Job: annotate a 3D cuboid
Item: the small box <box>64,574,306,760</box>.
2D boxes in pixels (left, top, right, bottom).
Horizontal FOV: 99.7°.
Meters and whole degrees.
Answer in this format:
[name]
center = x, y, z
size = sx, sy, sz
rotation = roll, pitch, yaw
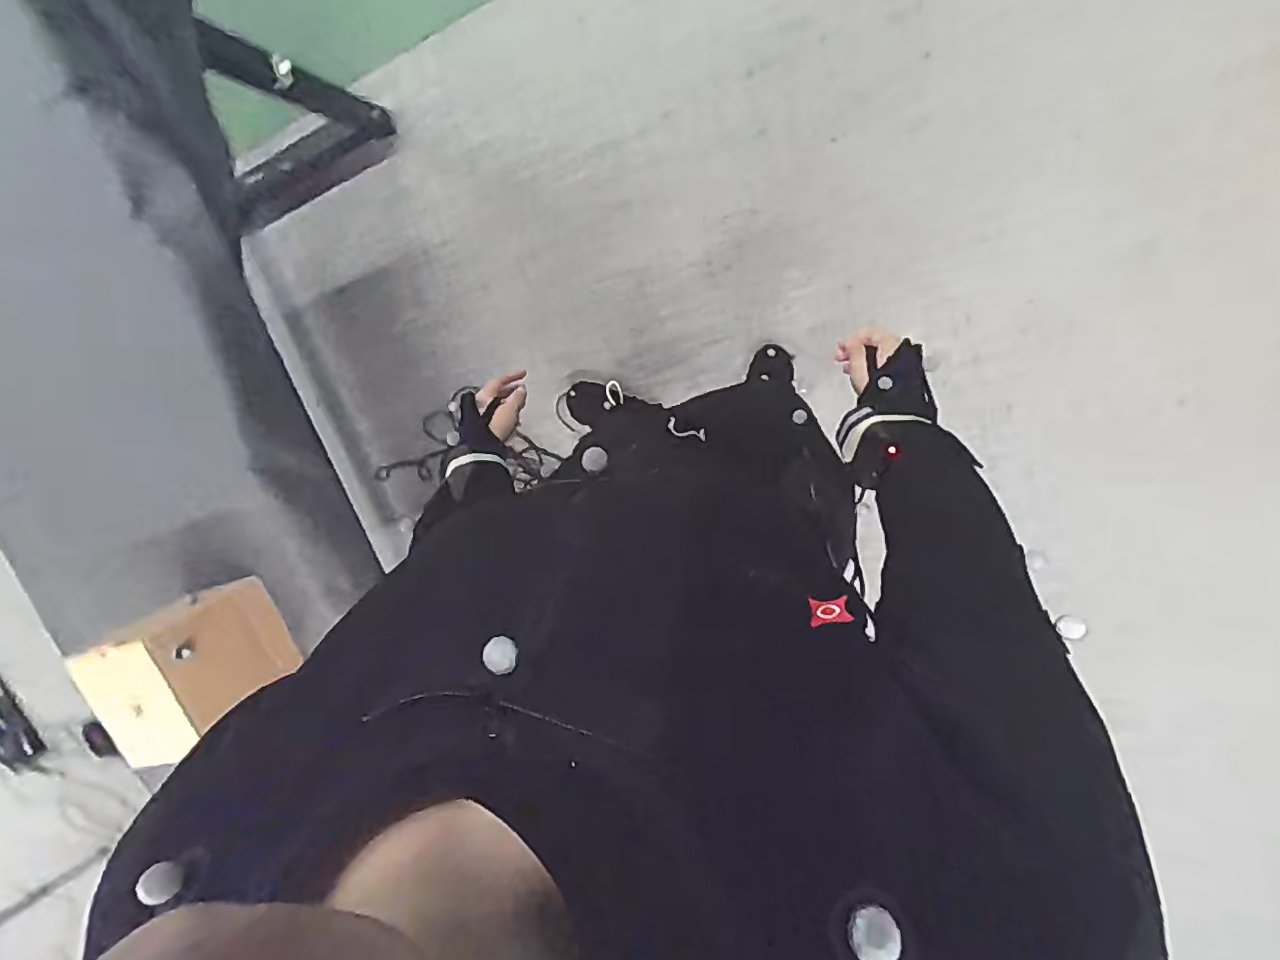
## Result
[small box]
center = -0.627, 0.260, 0.769
size = 0.168, 0.176, 0.179
rotation = -16, 104, 18
